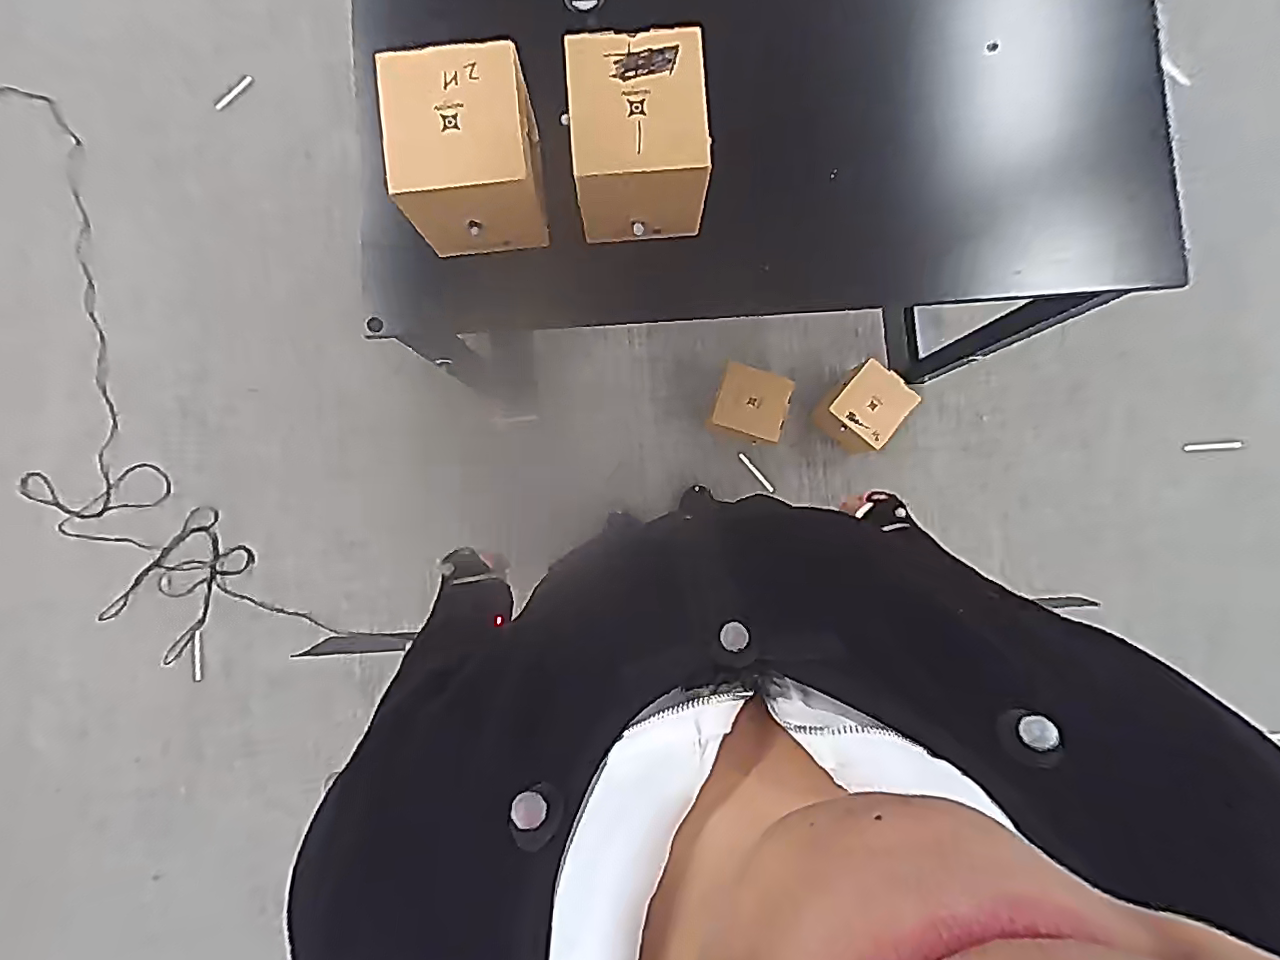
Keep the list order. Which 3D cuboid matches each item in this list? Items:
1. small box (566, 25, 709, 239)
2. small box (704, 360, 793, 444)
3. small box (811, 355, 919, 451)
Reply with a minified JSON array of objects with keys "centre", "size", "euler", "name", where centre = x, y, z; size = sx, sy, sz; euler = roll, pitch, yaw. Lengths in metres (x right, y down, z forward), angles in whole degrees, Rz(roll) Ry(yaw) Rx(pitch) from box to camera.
[{"centre":[-0.004,-0.449,0.720],"size":[0.168,0.176,0.179],"euler":[-4,88,0],"name":"small box"},{"centre":[0.282,-0.200,1.440],"size":[0.179,0.176,0.168],"euler":[17,87,2],"name":"small box"},{"centre":[0.585,-0.197,1.435],"size":[0.168,0.176,0.179],"euler":[40,89,2],"name":"small box"}]
